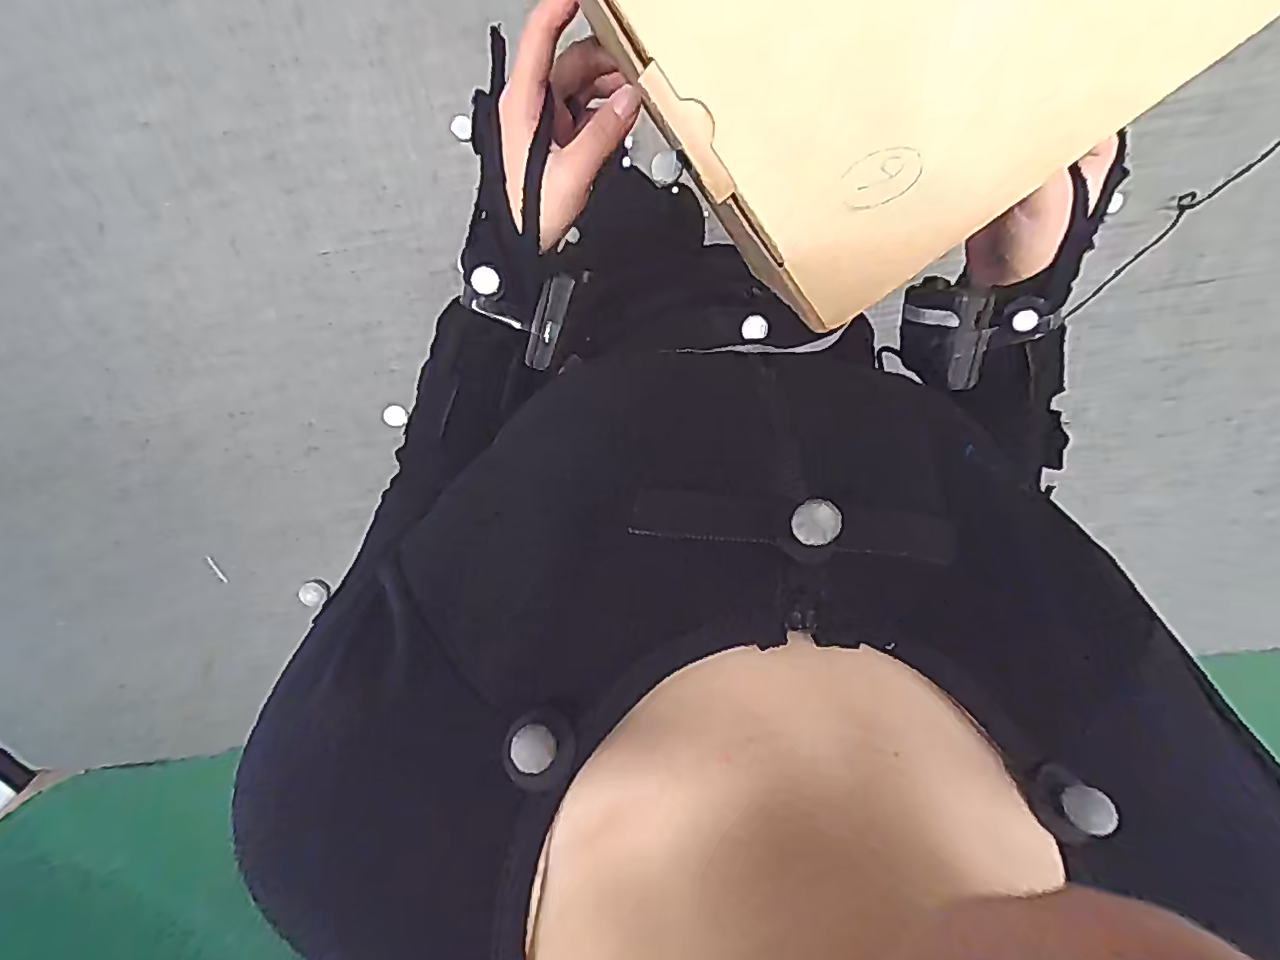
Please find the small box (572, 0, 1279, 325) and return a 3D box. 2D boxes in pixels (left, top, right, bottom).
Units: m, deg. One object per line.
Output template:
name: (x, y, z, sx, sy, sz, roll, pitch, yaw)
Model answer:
small box: (0.084, -0.193, 0.216, 0.179, 0.176, 0.168, -34, 110, 20)
